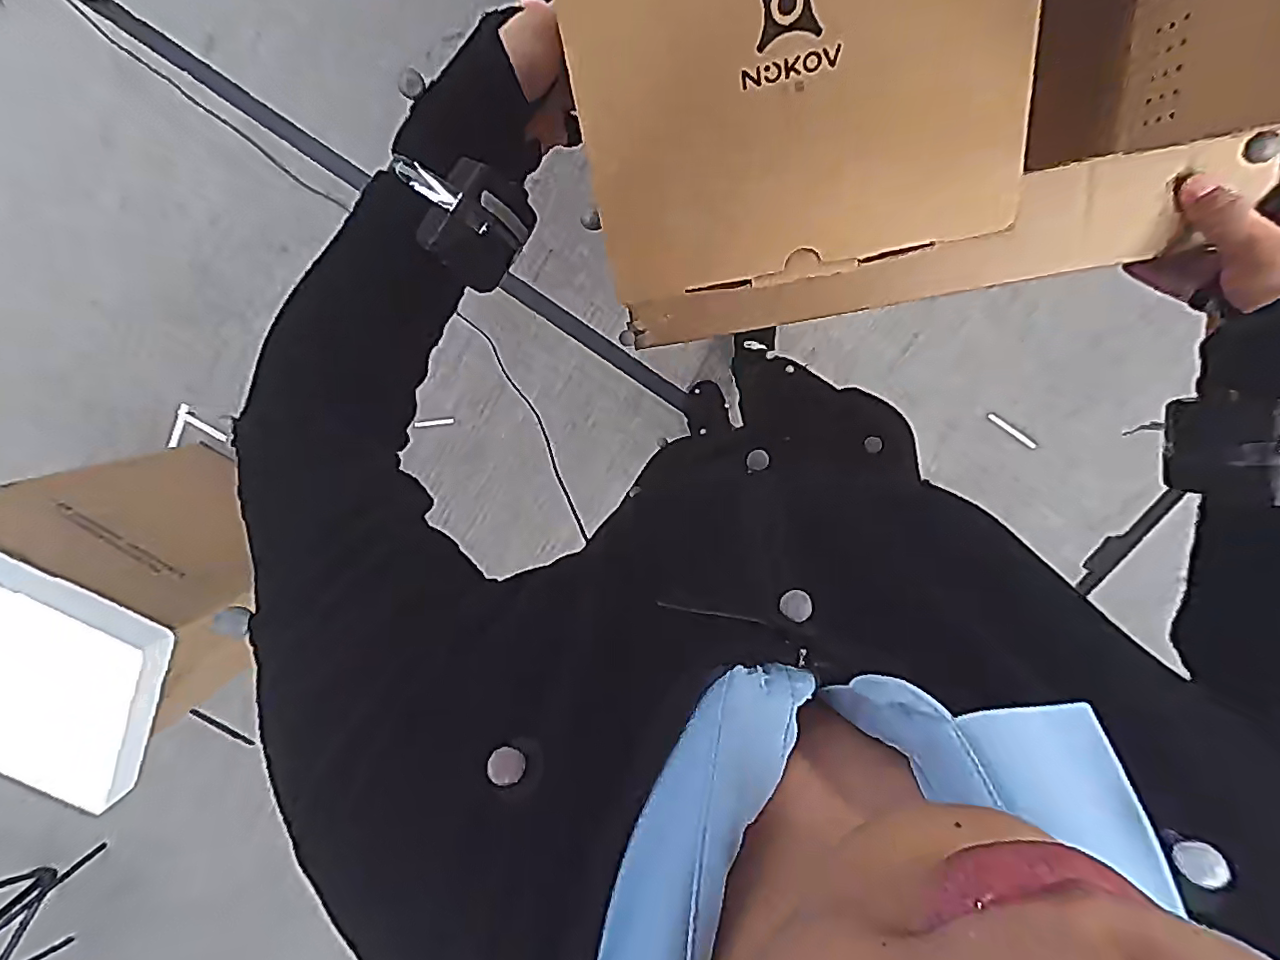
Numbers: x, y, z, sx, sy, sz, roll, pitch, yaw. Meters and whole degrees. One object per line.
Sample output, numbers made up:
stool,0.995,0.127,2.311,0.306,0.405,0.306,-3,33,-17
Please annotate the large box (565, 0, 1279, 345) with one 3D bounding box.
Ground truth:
large box,0.185,-0.331,0.459,0.408,0.320,0.320,-8,110,15
